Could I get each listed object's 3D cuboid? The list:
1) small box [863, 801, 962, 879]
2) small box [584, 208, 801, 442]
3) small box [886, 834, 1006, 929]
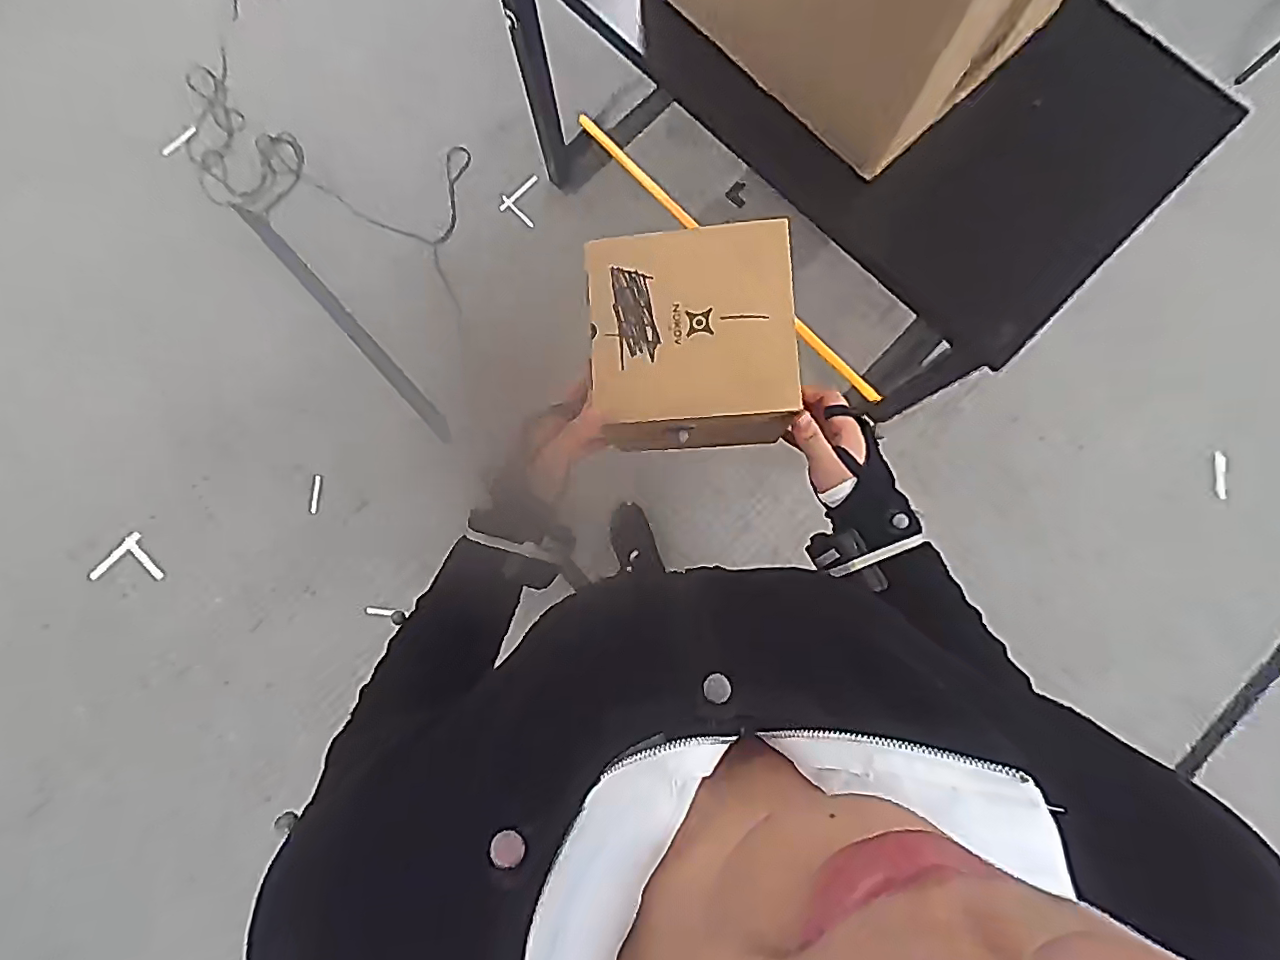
[{"bbox_3d":[0.684,0.930,1.312,0.179,0.176,0.168,43,84,7],"label":"small box"},{"bbox_3d":[0.050,-0.133,0.528,0.179,0.176,0.168,-3,85,6],"label":"small box"},{"bbox_3d":[0.667,0.900,1.151,0.179,0.176,0.168,44,85,6],"label":"small box"}]
